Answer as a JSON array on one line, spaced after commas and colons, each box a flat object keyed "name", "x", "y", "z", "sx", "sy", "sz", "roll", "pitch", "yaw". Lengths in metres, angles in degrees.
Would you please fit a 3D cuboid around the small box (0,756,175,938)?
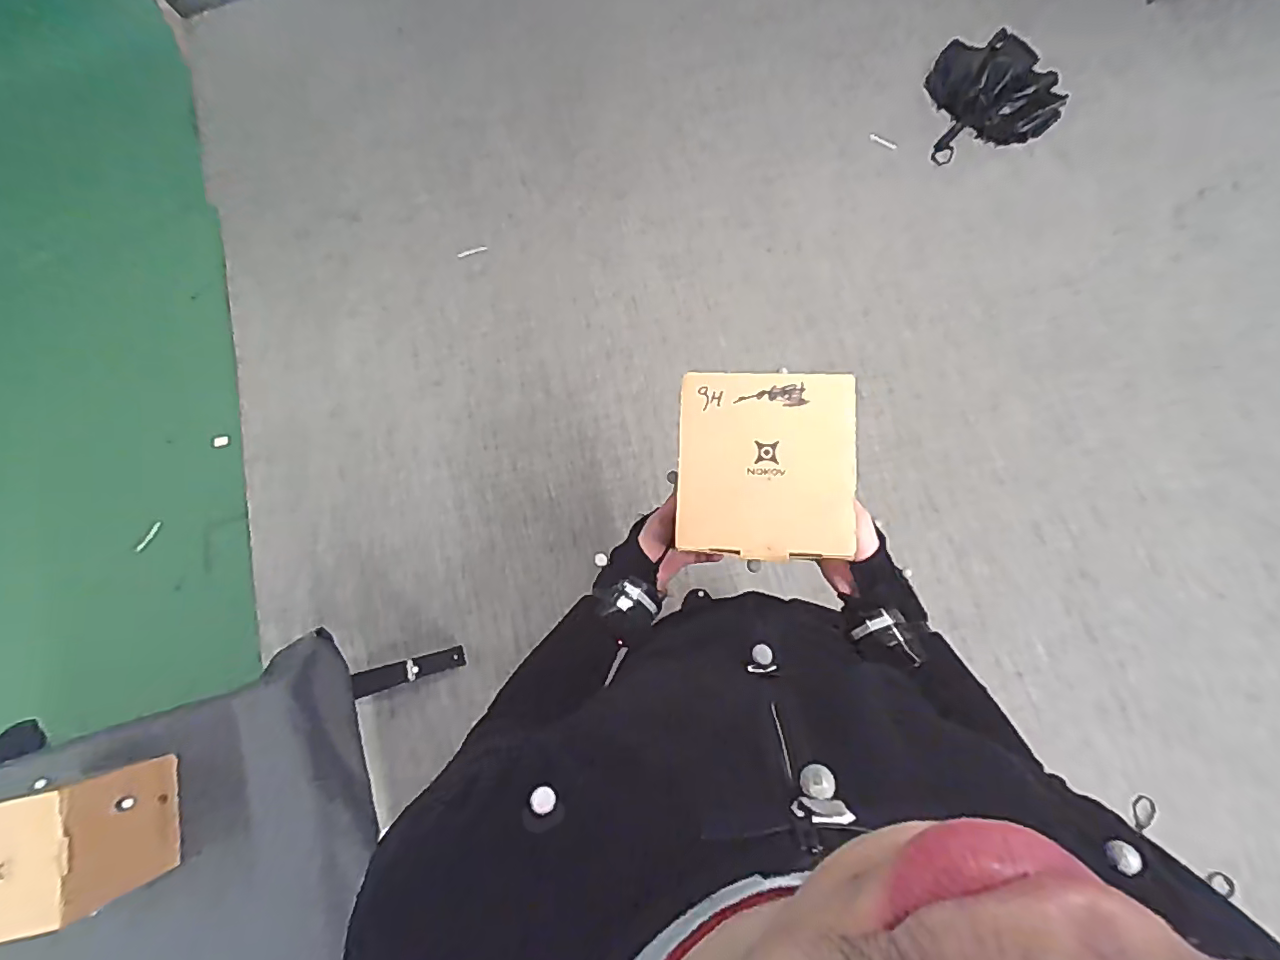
[{"name": "small box", "x": -0.814, "y": 0.514, "z": 0.771, "sx": 0.179, "sy": 0.176, "sz": 0.168, "roll": -14, "pitch": 76, "yaw": 3}]

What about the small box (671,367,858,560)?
[{"name": "small box", "x": 0.124, "y": -0.009, "z": 0.578, "sx": 0.168, "sy": 0.176, "sz": 0.179, "roll": 3, "pitch": 82, "yaw": 6}]
